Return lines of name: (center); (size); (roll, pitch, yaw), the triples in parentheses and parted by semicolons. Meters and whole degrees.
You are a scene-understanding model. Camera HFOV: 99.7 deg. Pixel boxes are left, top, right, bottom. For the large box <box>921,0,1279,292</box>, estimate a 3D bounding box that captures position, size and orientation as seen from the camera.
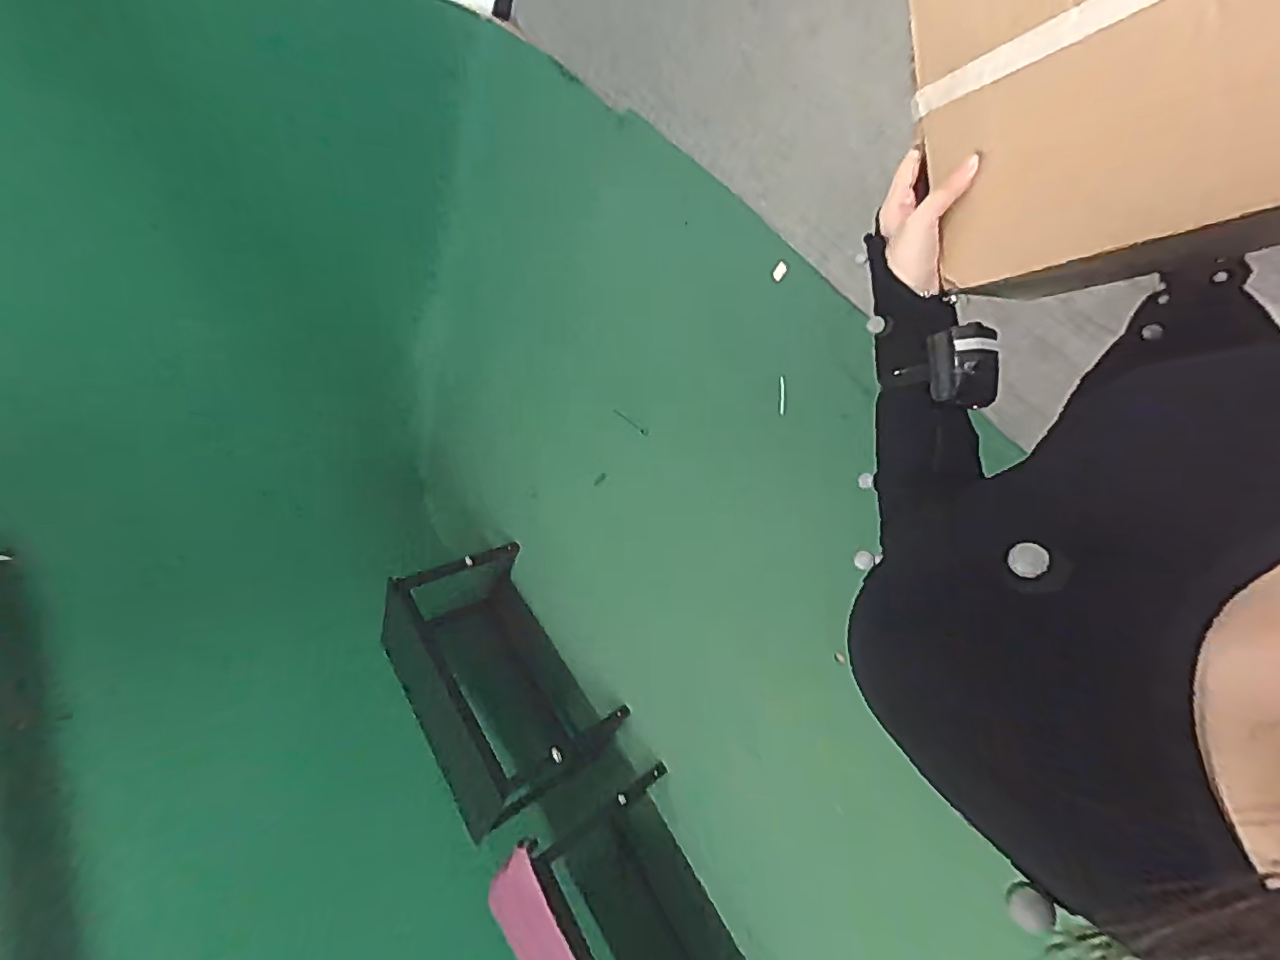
large box: (0.483, -0.363, 0.410); (0.408, 0.320, 0.320); (-4, 99, 45)
